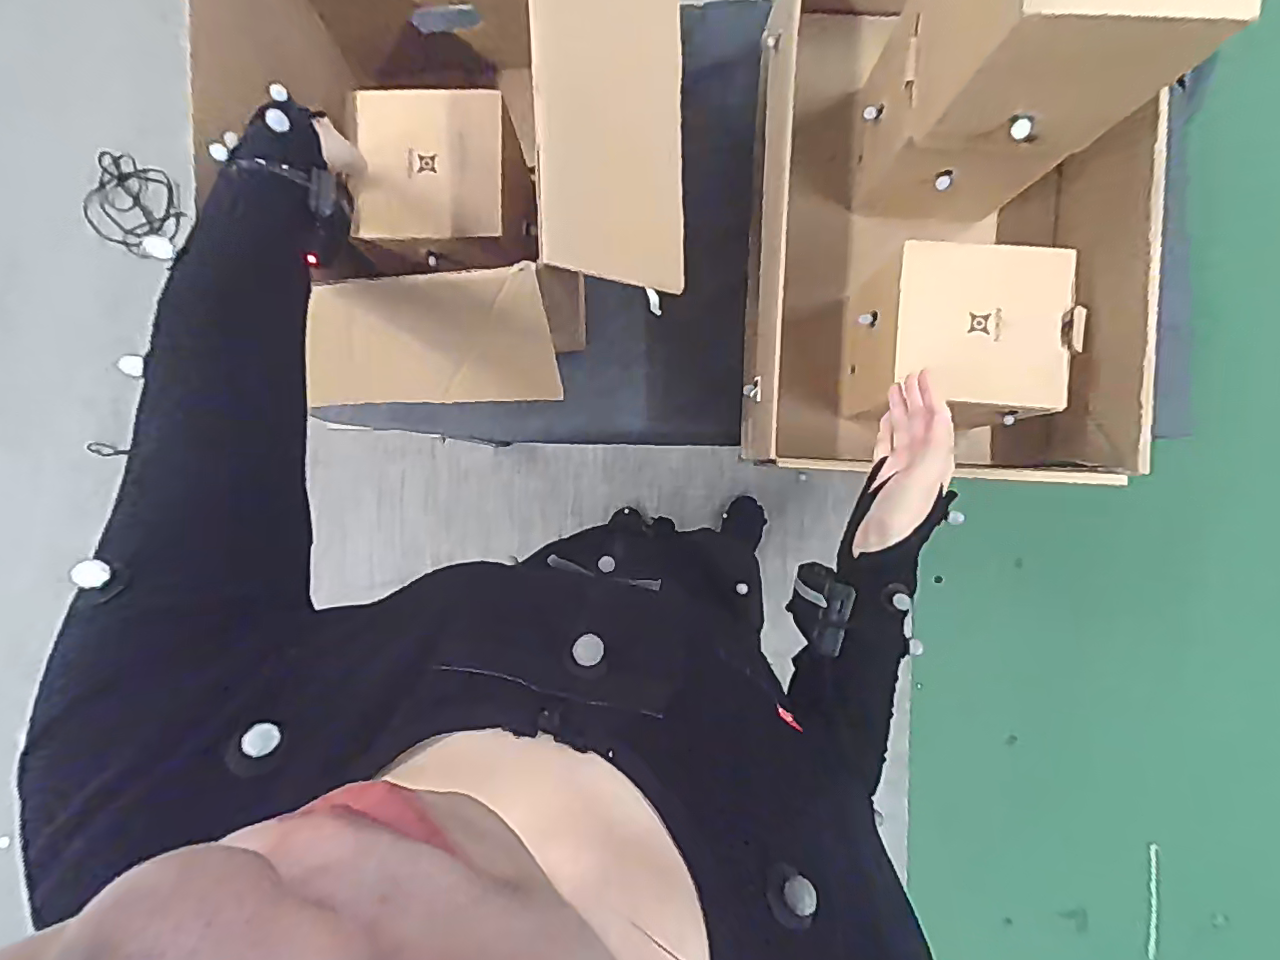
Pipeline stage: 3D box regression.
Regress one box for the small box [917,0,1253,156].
[{"bbox_3d":[0.361,-0.418,0.465,0.168,0.176,0.179,3,93,2],"label":"small box"}]
